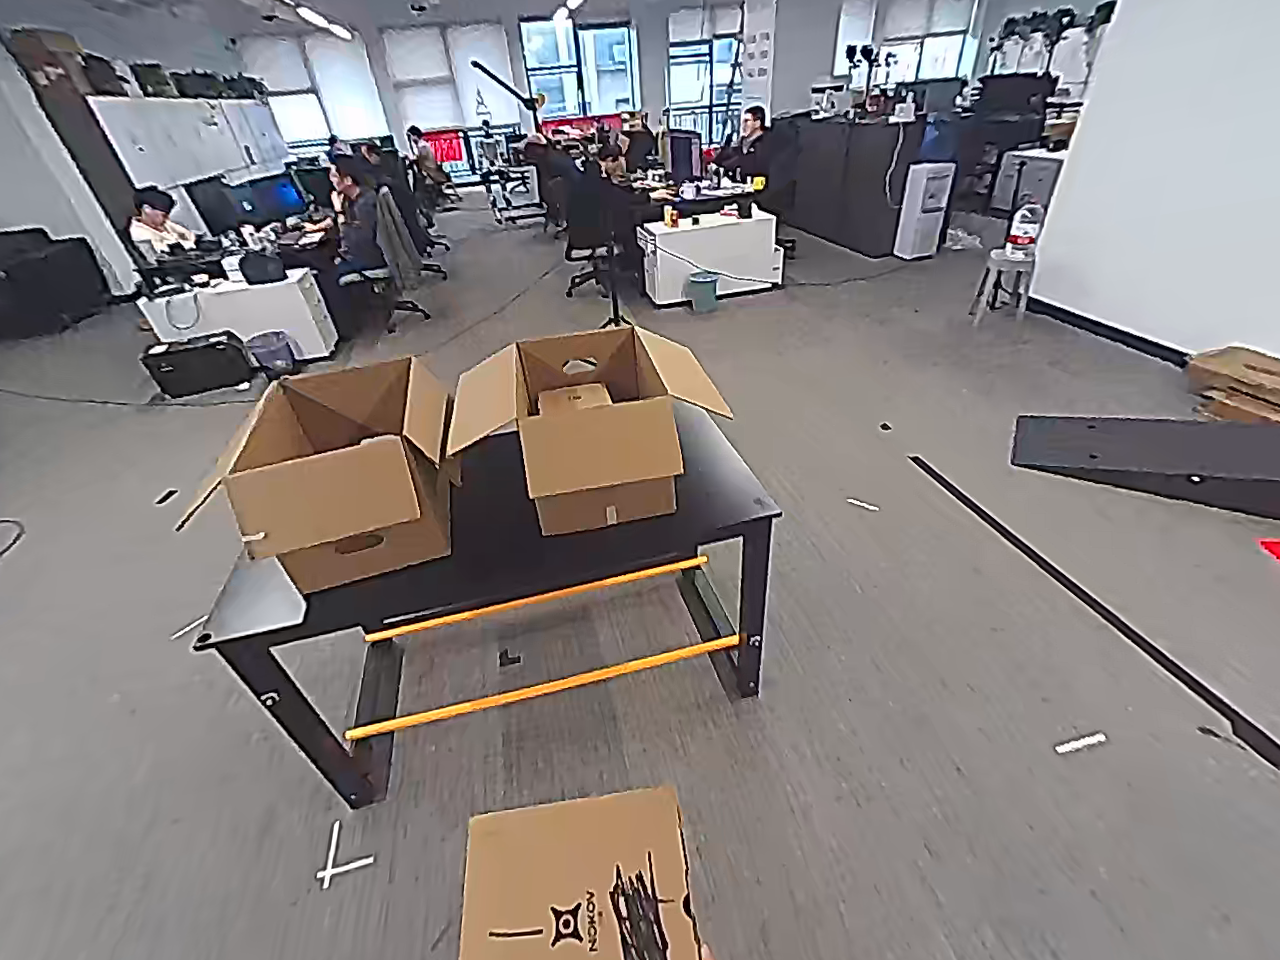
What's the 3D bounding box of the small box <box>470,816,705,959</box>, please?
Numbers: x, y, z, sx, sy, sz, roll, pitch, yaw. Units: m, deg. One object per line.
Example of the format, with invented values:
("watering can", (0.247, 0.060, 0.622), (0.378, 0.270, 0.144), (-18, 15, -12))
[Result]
("small box", (-0.037, 0.407, 0.461), (0.179, 0.176, 0.168), (-7, 47, -3))
